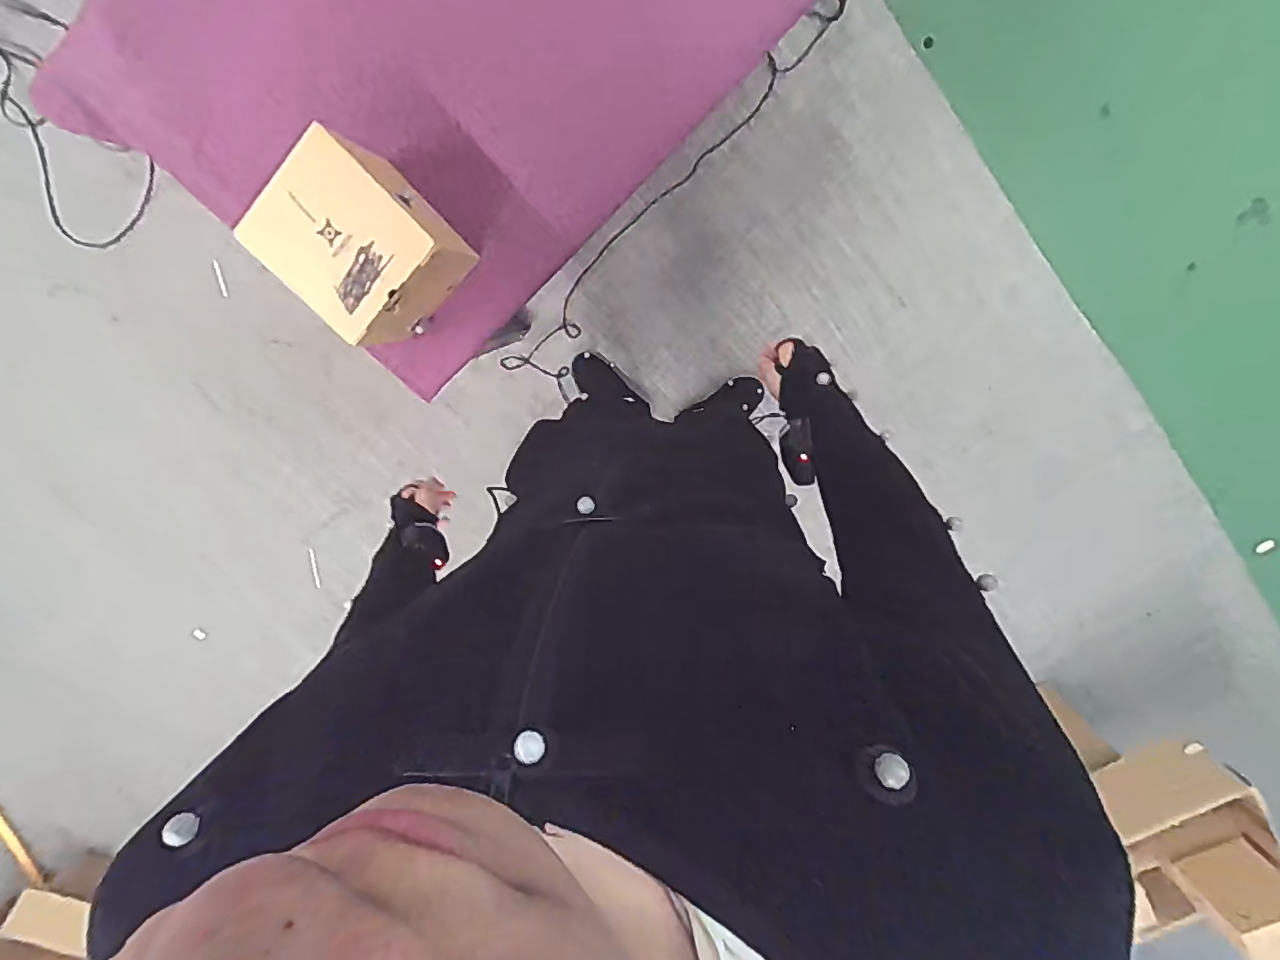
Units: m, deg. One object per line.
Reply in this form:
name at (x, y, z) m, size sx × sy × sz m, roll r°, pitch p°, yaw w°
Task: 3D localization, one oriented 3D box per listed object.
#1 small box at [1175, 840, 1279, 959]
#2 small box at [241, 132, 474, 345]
small box at (1.464, 1.012, 1.296) m, size 0.179 × 0.176 × 0.168 m, roll -33°, pitch 105°, yaw 12°
small box at (-0.352, -0.304, 0.712) m, size 0.168 × 0.176 × 0.179 m, roll -42°, pitch 101°, yaw 14°
